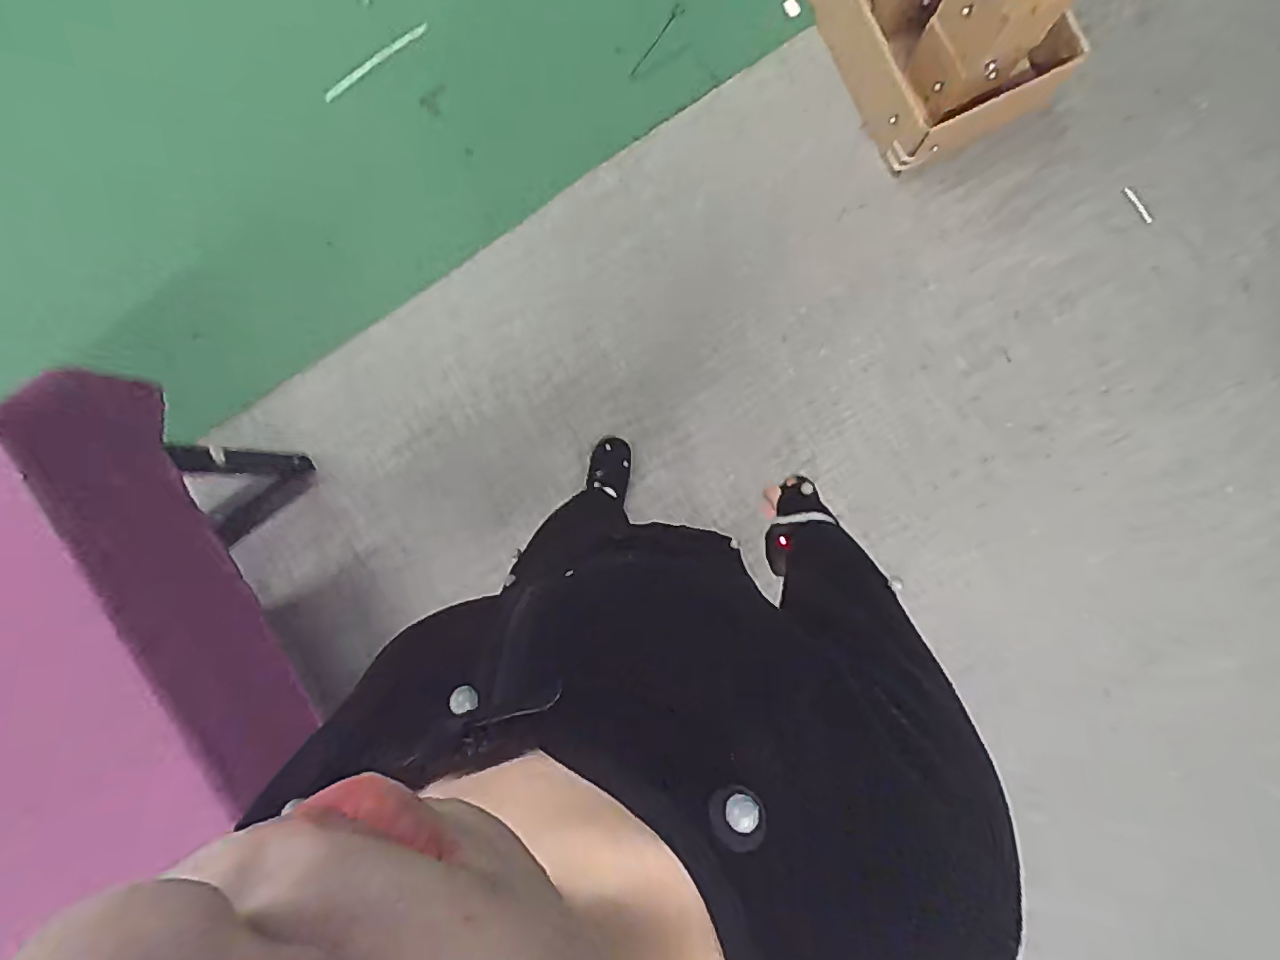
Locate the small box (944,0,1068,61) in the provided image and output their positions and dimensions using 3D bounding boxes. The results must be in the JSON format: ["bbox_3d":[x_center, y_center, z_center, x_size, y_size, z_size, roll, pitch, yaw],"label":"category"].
[{"bbox_3d":[0.773,-1.021,1.117,0.168,0.176,0.179,-25,86,6],"label":"small box"}]
